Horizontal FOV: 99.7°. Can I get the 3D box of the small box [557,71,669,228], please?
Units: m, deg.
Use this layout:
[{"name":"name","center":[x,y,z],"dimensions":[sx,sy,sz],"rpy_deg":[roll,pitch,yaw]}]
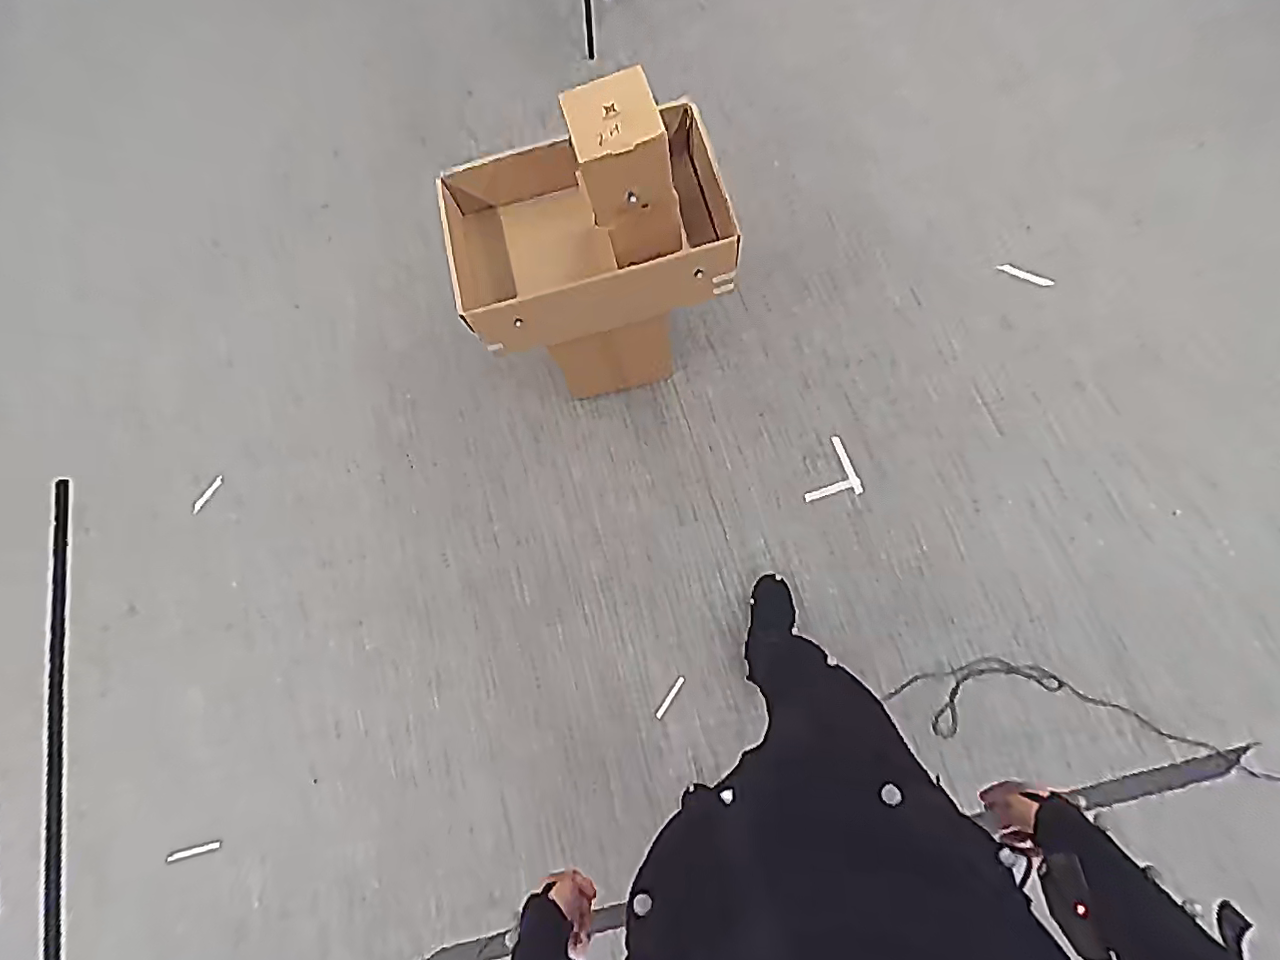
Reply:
[{"name":"small box","center":[-0.048,-0.637,1.059],"dimensions":[0.168,0.176,0.179],"rpy_deg":[-17,74,4]}]
